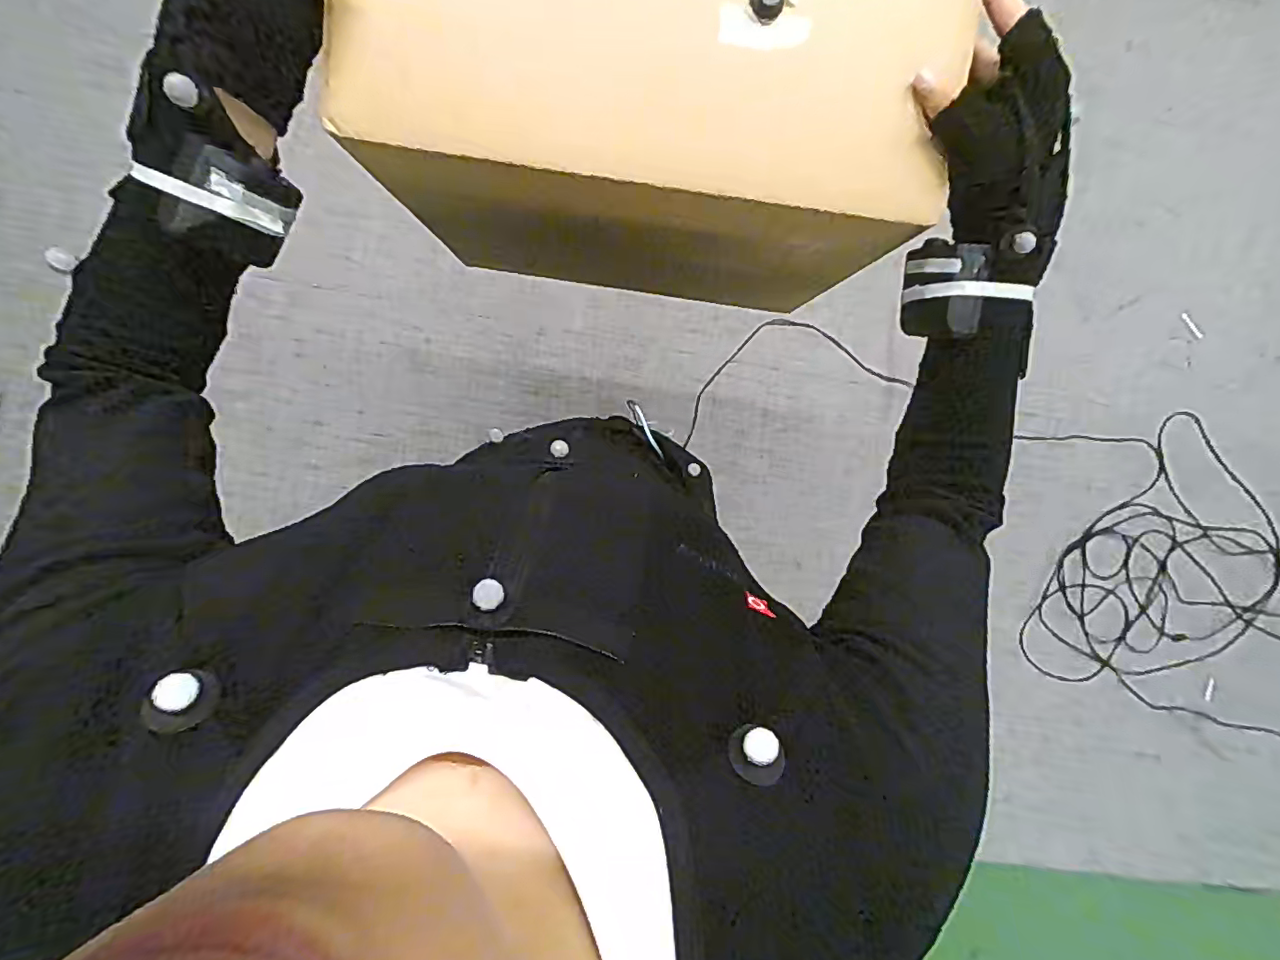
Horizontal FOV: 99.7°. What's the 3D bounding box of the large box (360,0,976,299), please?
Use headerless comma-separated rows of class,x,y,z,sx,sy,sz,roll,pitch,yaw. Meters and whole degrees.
large box,0.020,-0.374,0.494,0.408,0.320,0.320,7,97,-4
